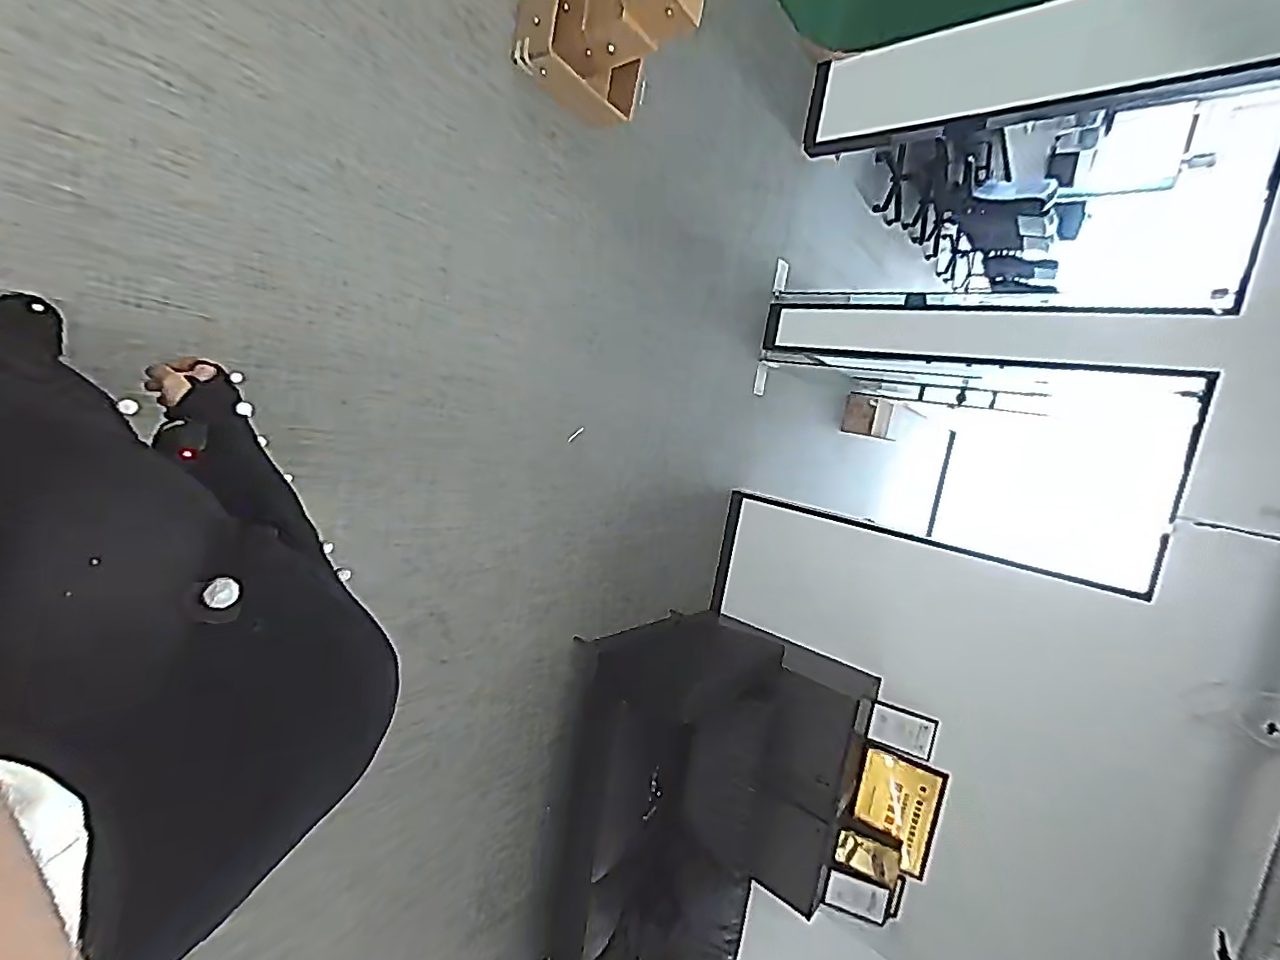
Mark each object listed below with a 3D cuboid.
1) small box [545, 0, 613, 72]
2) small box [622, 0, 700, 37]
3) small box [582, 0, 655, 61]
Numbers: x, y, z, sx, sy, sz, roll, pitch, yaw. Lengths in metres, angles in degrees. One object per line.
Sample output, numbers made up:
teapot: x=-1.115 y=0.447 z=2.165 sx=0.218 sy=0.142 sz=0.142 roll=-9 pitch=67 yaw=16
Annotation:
small box: x=-0.186 y=-1.490 z=1.777 sx=0.179 sy=0.176 sz=0.168 roll=7 pitch=96 yaw=-53
small box: x=0.063 y=-1.442 z=1.569 sx=0.179 sy=0.176 sz=0.168 roll=8 pitch=96 yaw=-52
small box: x=-0.060 y=-1.458 z=1.675 sx=0.168 sy=0.176 sz=0.179 roll=0 pitch=102 yaw=-51
